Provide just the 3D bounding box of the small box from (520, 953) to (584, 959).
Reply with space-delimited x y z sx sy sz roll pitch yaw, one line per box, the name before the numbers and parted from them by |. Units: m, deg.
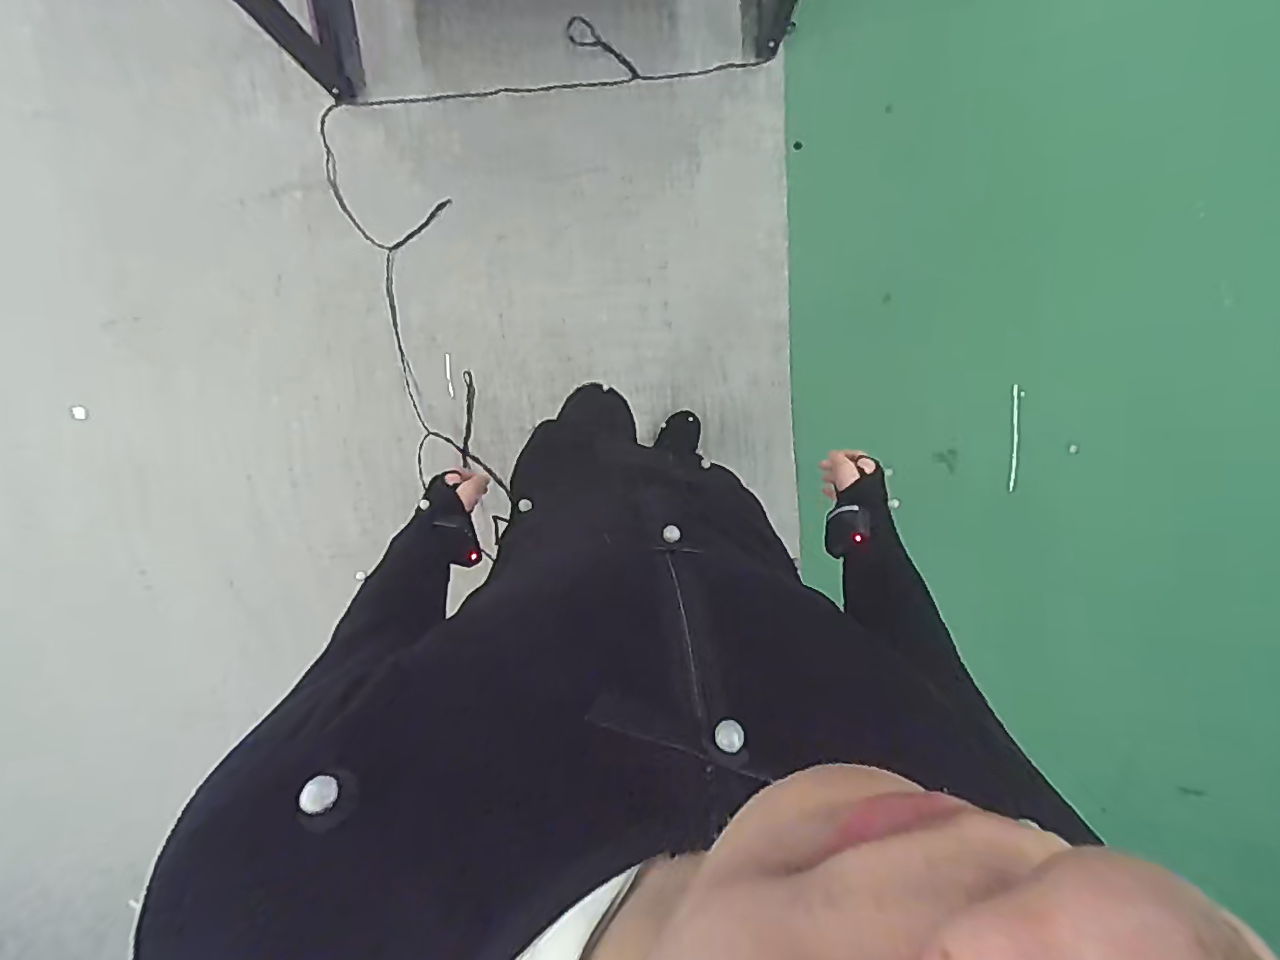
small box | -0.187 1.141 1.128 0.168 0.176 0.179 2 99 0
